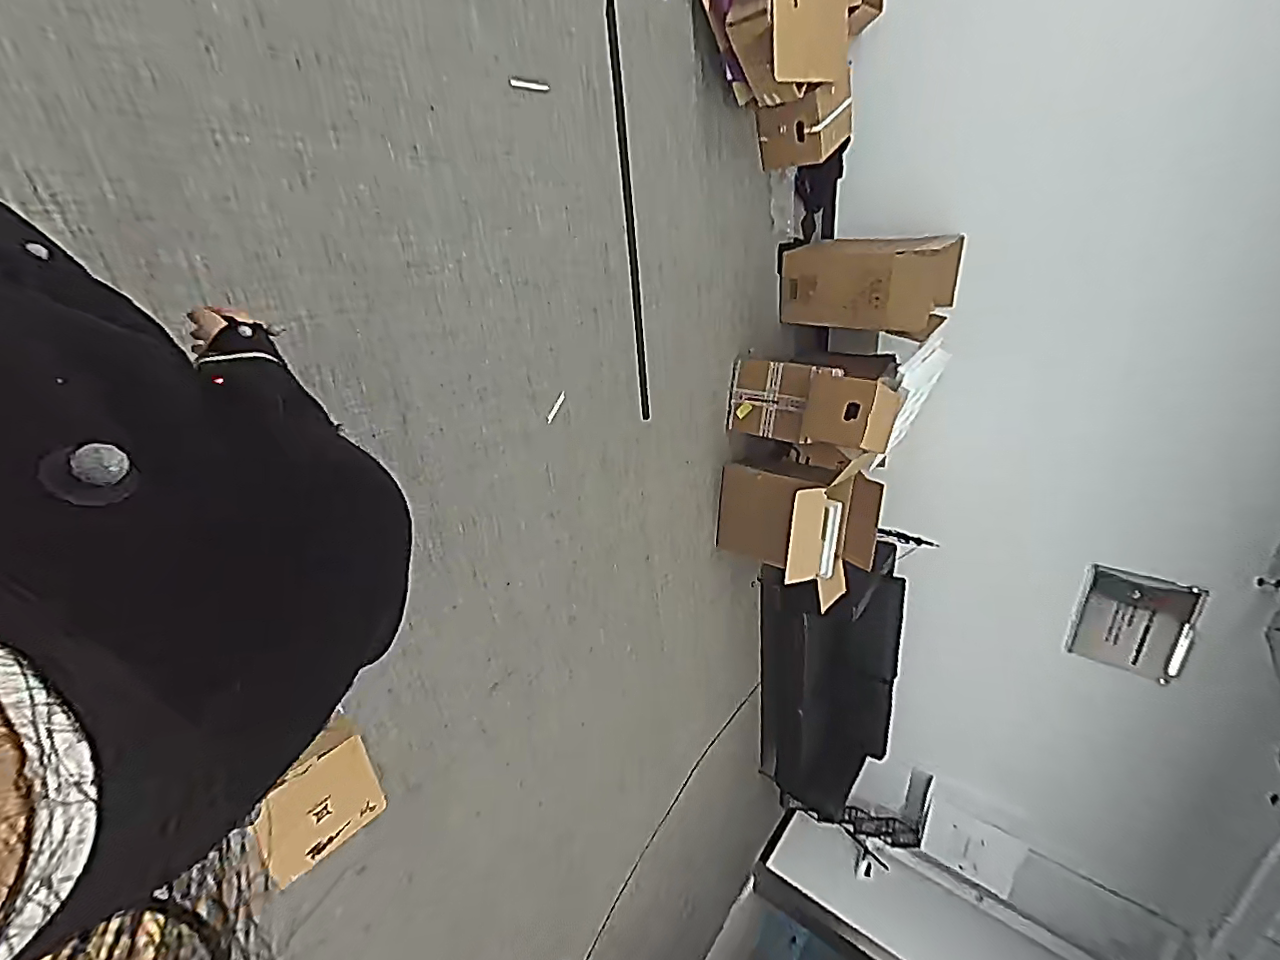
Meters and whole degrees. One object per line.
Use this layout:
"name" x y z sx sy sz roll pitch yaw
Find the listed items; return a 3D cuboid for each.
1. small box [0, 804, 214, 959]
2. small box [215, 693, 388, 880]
"small box" -0.703 0.564 0.700 0.168 0.176 0.179 -29 124 -44
"small box" -0.543 0.473 0.871 0.168 0.176 0.179 -28 122 -43
